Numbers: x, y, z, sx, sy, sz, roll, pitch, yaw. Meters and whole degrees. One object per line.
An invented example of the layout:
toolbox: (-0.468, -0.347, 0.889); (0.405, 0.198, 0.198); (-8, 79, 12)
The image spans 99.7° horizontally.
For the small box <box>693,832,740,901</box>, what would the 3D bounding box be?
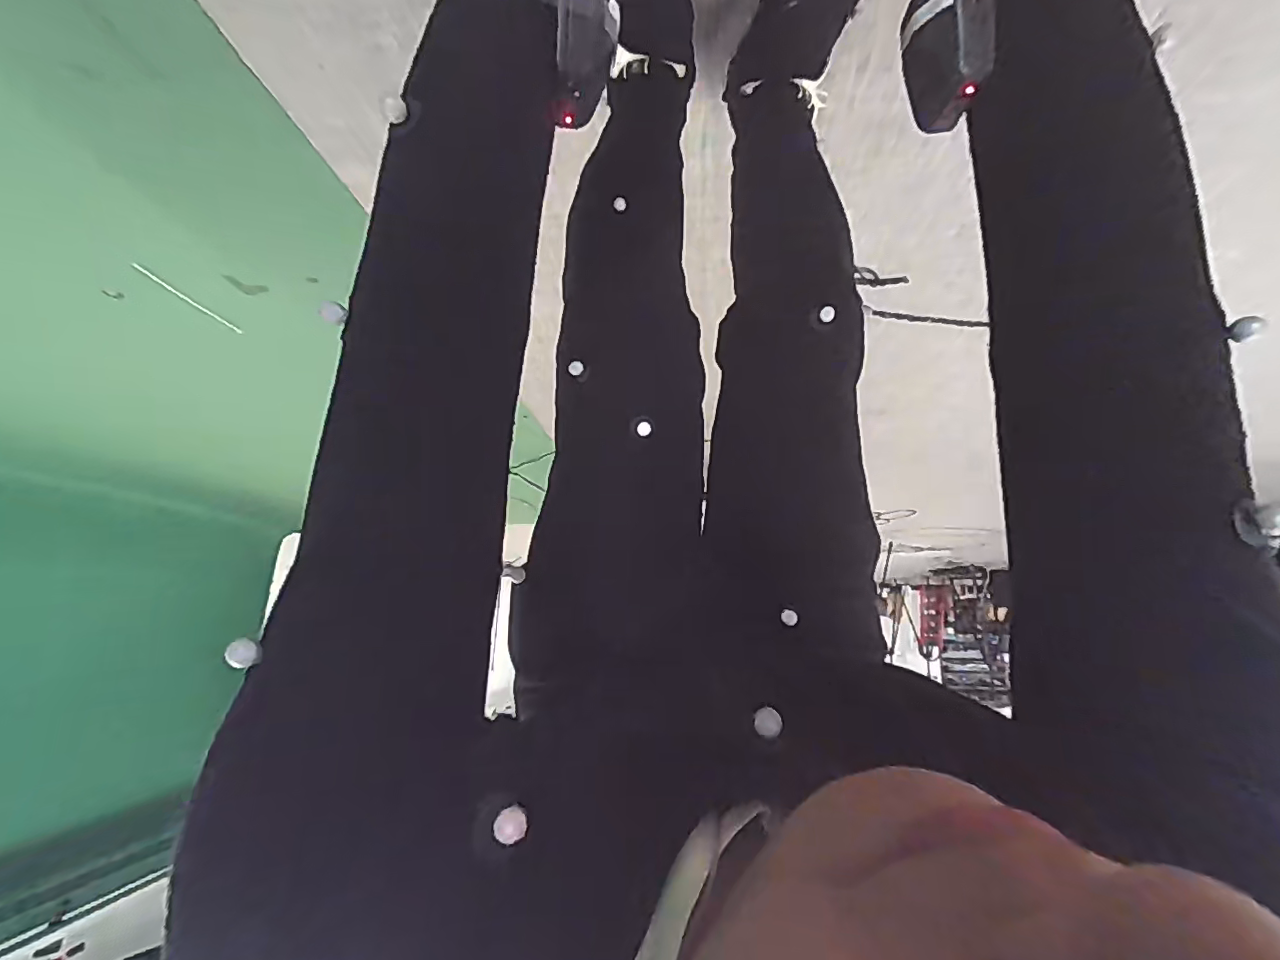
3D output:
small box: (0.301, 1.521, 2.139); (0.179, 0.176, 0.168); (1, 167, 5)
